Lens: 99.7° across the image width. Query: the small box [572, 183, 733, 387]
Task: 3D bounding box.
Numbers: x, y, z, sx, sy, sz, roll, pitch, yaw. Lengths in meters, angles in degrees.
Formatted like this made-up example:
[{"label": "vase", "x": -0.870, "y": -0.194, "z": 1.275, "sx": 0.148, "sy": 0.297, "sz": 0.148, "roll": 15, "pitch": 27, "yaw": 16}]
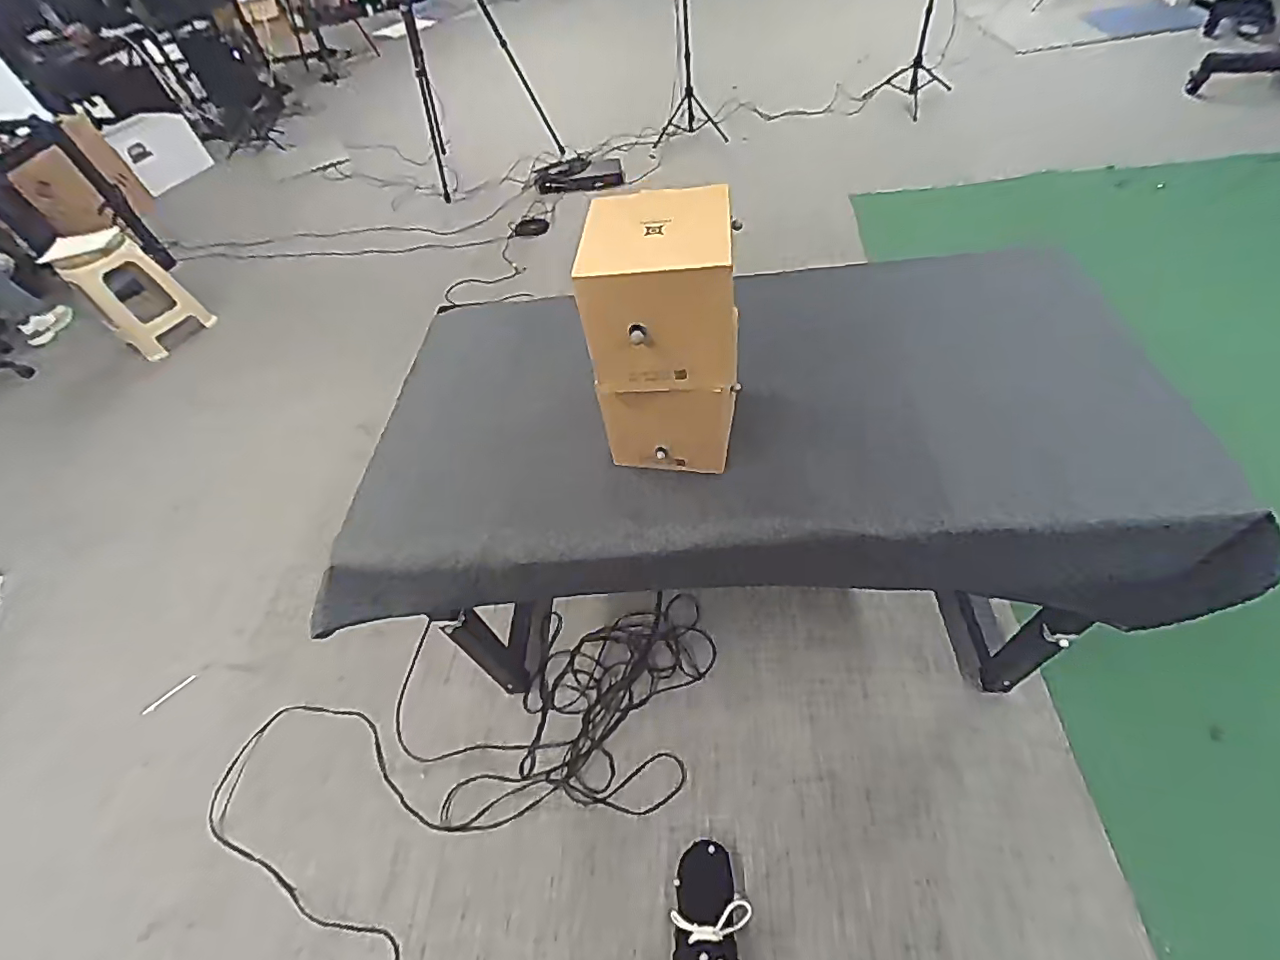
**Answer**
[{"label": "small box", "x": 0.028, "y": -0.225, "z": 0.652, "sx": 0.168, "sy": 0.176, "sz": 0.179, "roll": -1, "pitch": 52, "yaw": 8}]
